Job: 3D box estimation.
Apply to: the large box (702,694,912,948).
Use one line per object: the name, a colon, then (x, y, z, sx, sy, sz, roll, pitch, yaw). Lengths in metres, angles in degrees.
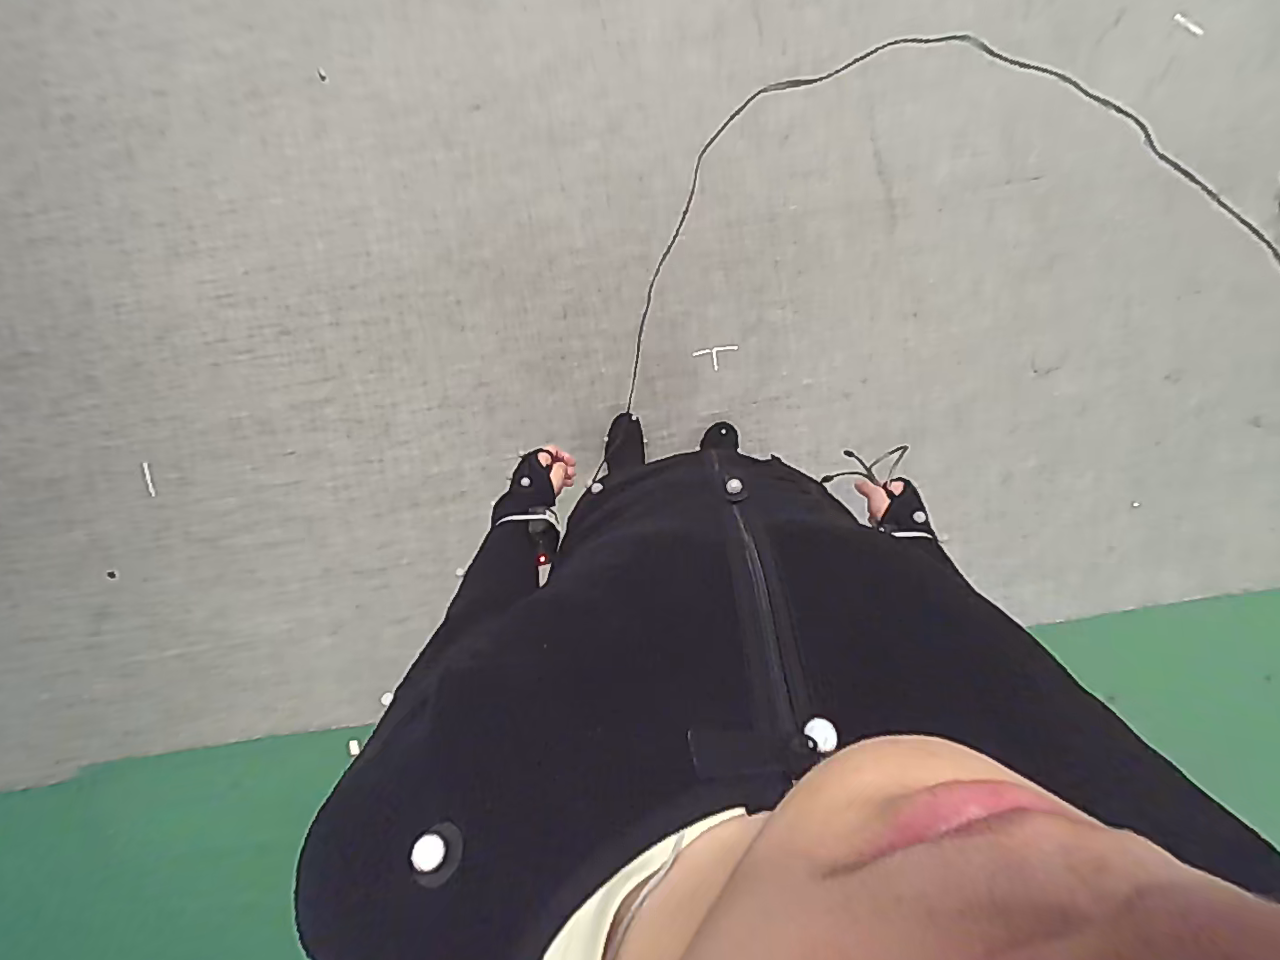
large box: (0.409, 0.860, 1.410, 0.320, 0.320, 0.408, -30, 98, 3)
